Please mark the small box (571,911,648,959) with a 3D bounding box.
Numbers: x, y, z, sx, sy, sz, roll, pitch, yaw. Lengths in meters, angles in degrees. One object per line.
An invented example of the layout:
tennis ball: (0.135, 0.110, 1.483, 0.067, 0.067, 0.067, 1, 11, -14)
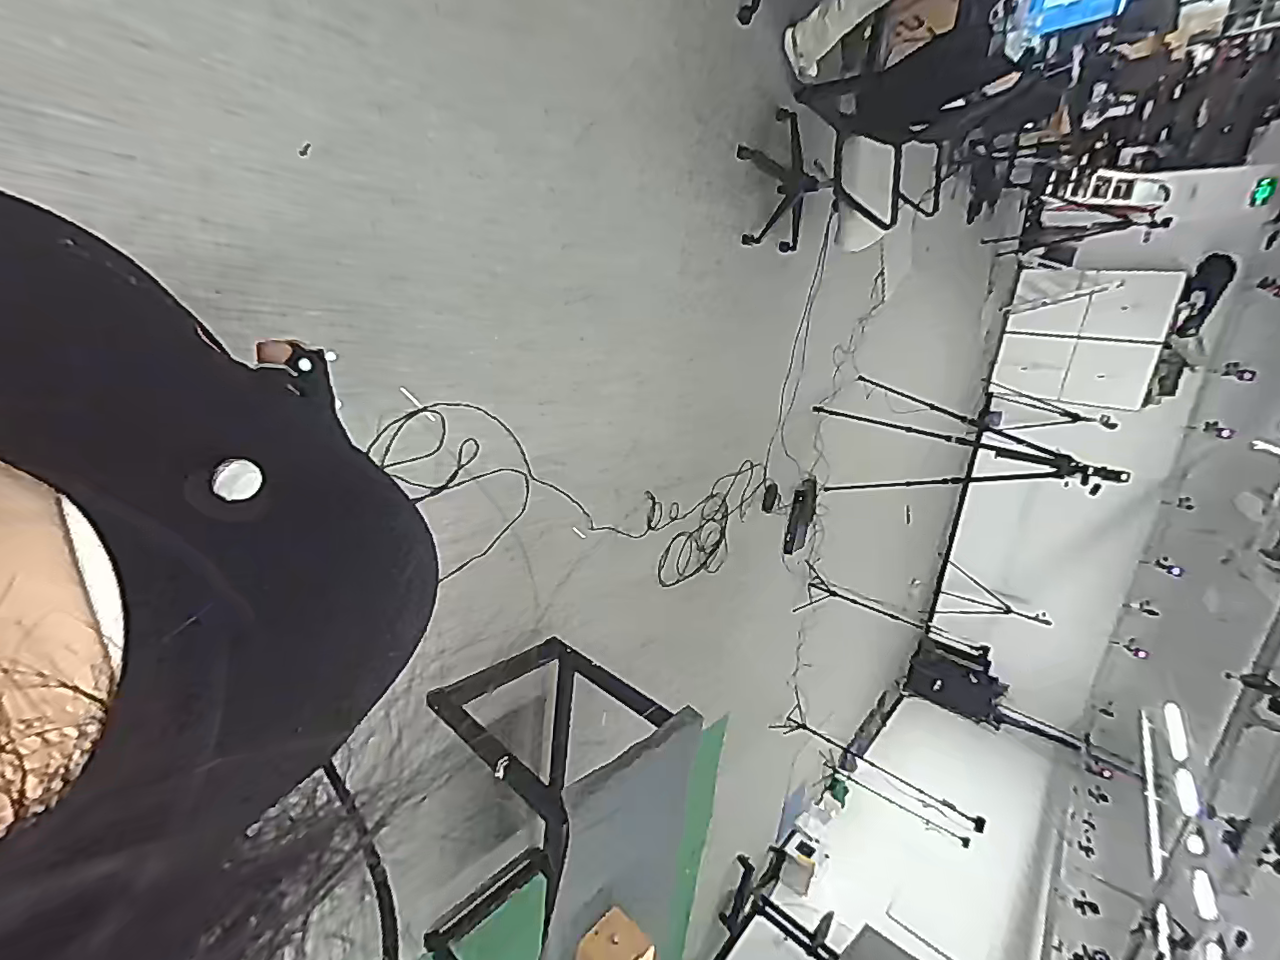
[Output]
small box: (-0.099, 1.451, 1.622, 0.168, 0.176, 0.179, -7, 109, -51)
